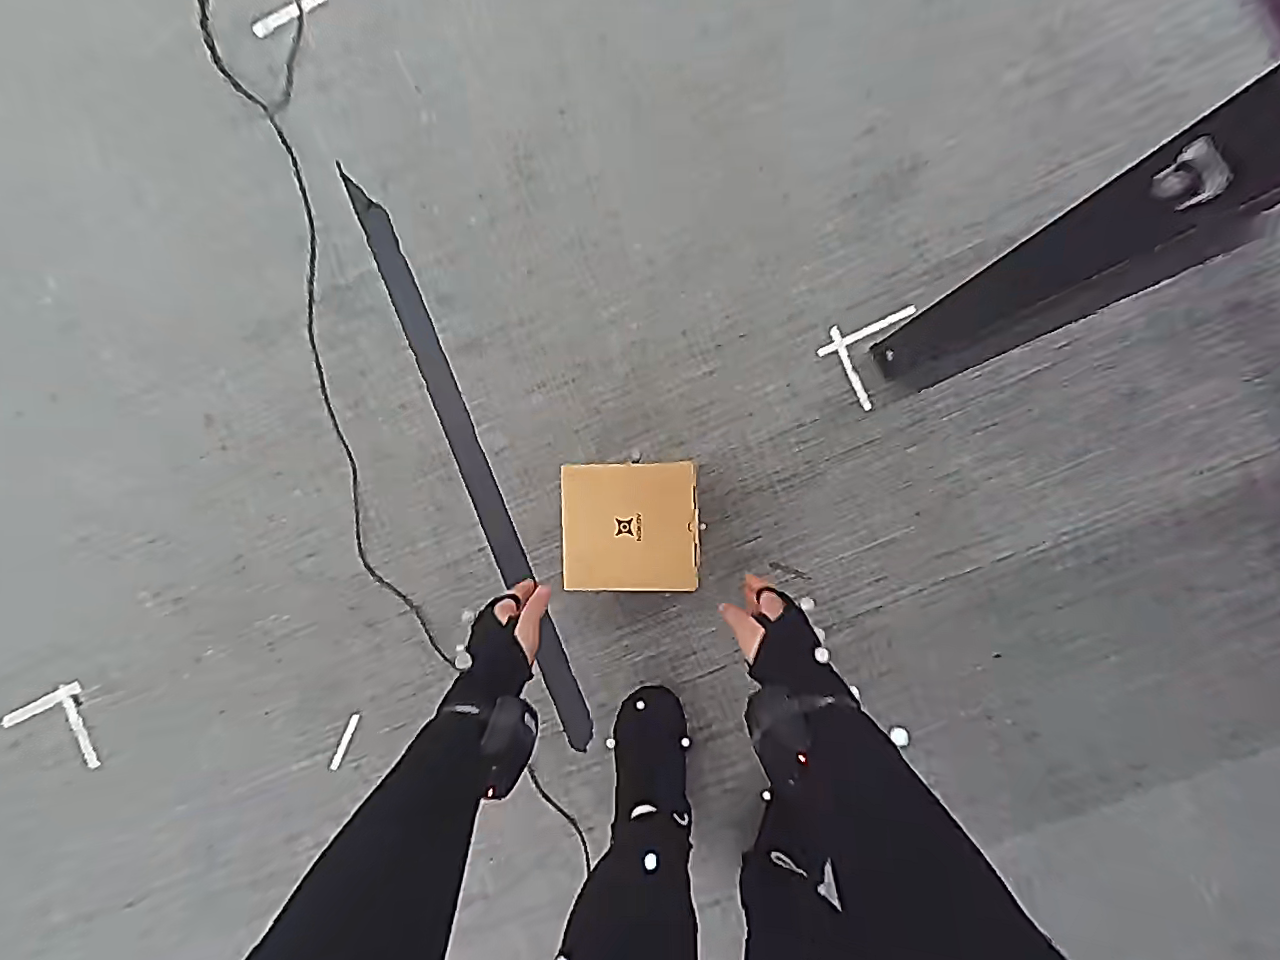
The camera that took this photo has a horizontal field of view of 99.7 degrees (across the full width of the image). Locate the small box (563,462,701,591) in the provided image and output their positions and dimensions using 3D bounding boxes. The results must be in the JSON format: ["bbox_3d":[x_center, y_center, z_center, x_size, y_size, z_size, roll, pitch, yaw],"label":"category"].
[{"bbox_3d":[-0.004,0.060,0.771,0.179,0.176,0.168,-2,91,5],"label":"small box"}]
